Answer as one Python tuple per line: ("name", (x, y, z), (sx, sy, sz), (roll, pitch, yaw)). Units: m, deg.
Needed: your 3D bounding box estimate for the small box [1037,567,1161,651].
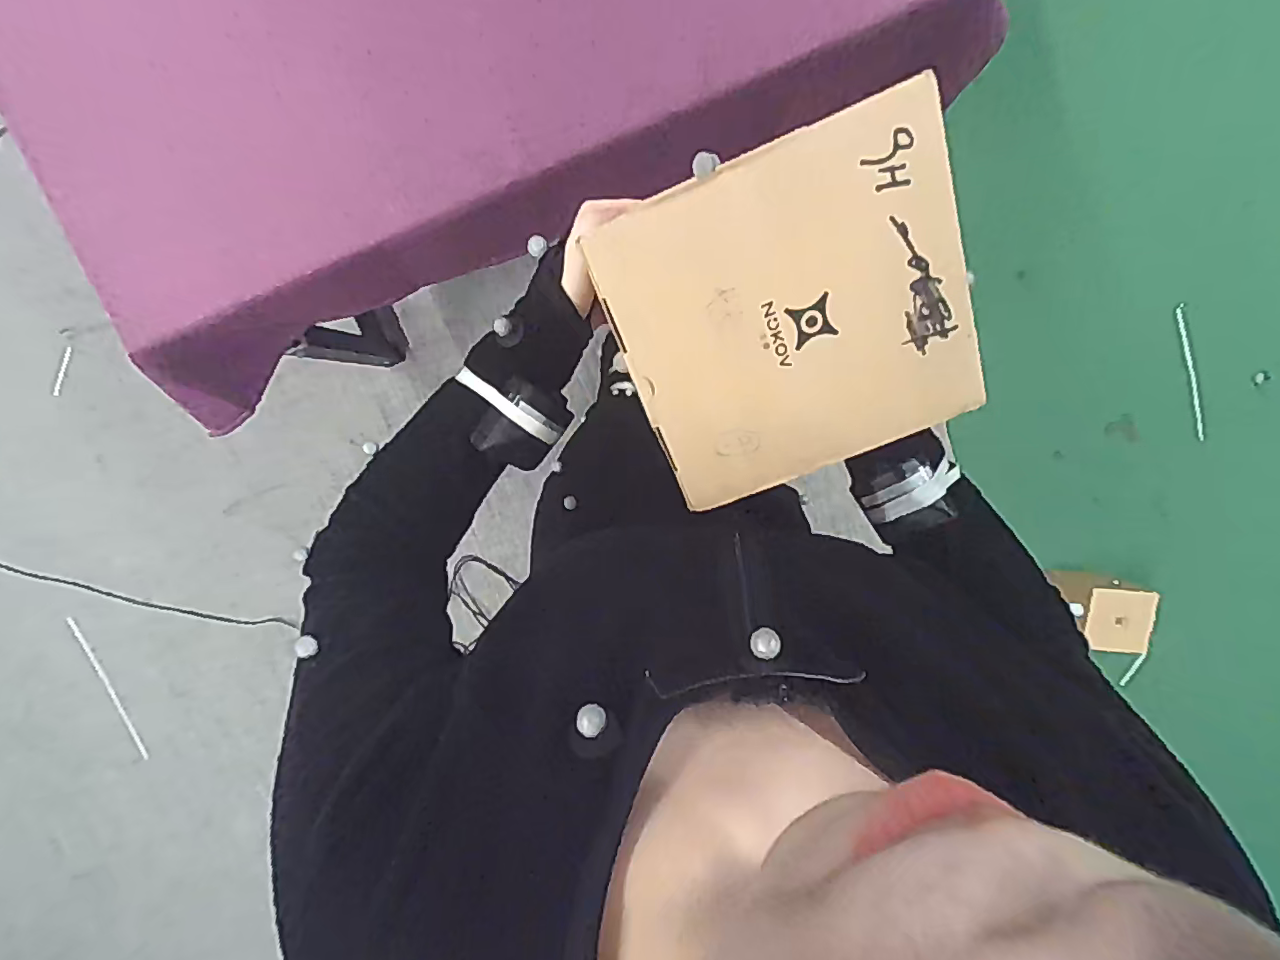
("small box", (1.229, 0.342, 1.459), (0.179, 0.176, 0.168), (5, 98, -1))
